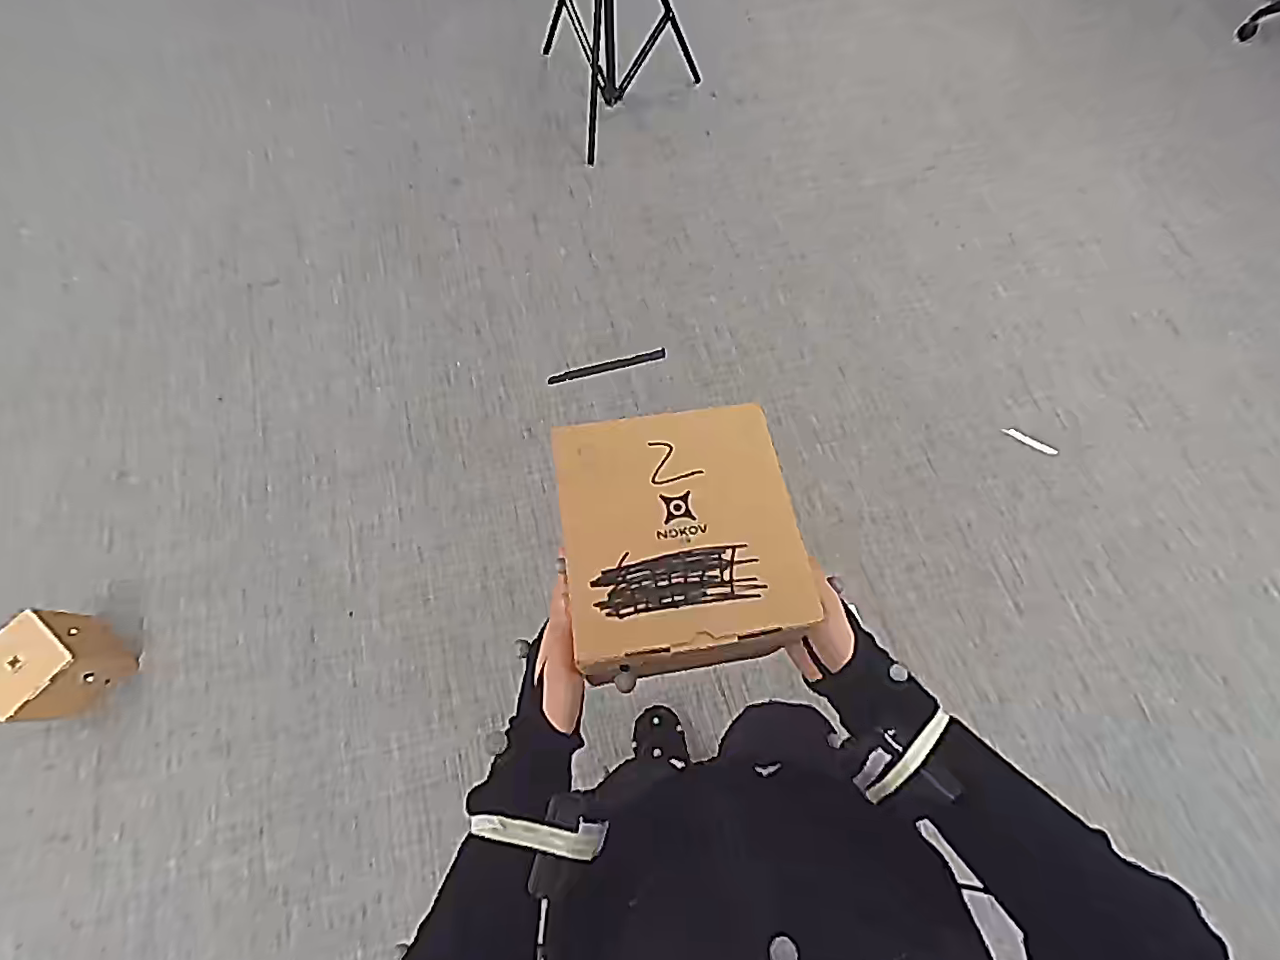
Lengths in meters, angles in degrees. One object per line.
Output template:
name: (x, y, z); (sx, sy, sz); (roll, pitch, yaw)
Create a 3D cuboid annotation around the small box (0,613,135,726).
small box: (-1.325, 0.427, 1.227); (0.179, 0.176, 0.168); (36, 72, 12)
